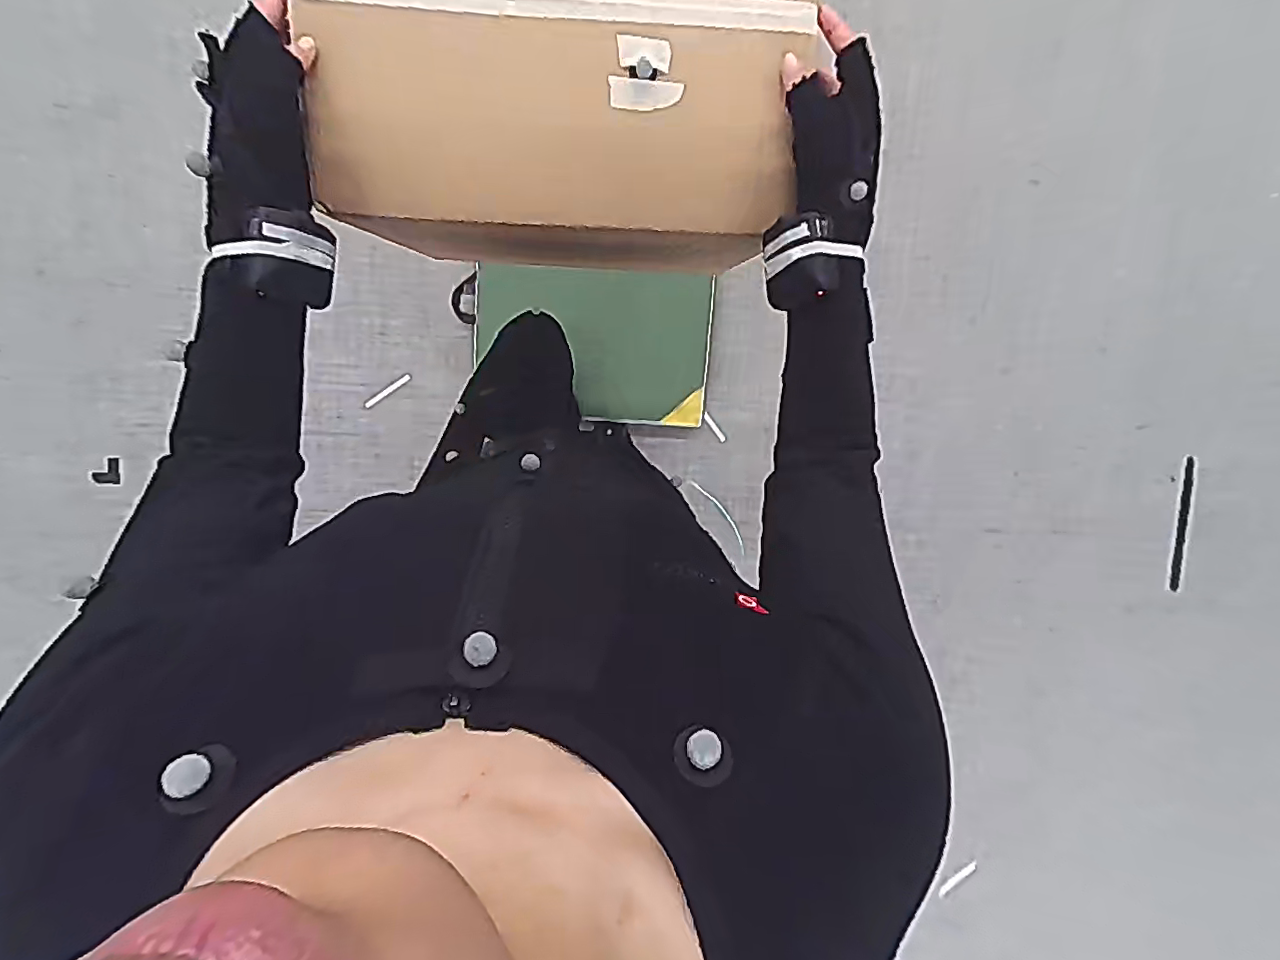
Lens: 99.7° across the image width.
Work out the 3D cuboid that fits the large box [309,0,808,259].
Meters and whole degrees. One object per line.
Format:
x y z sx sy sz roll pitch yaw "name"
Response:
-0.072 -0.422 0.575 0.408 0.320 0.320 0 106 -4 "large box"
